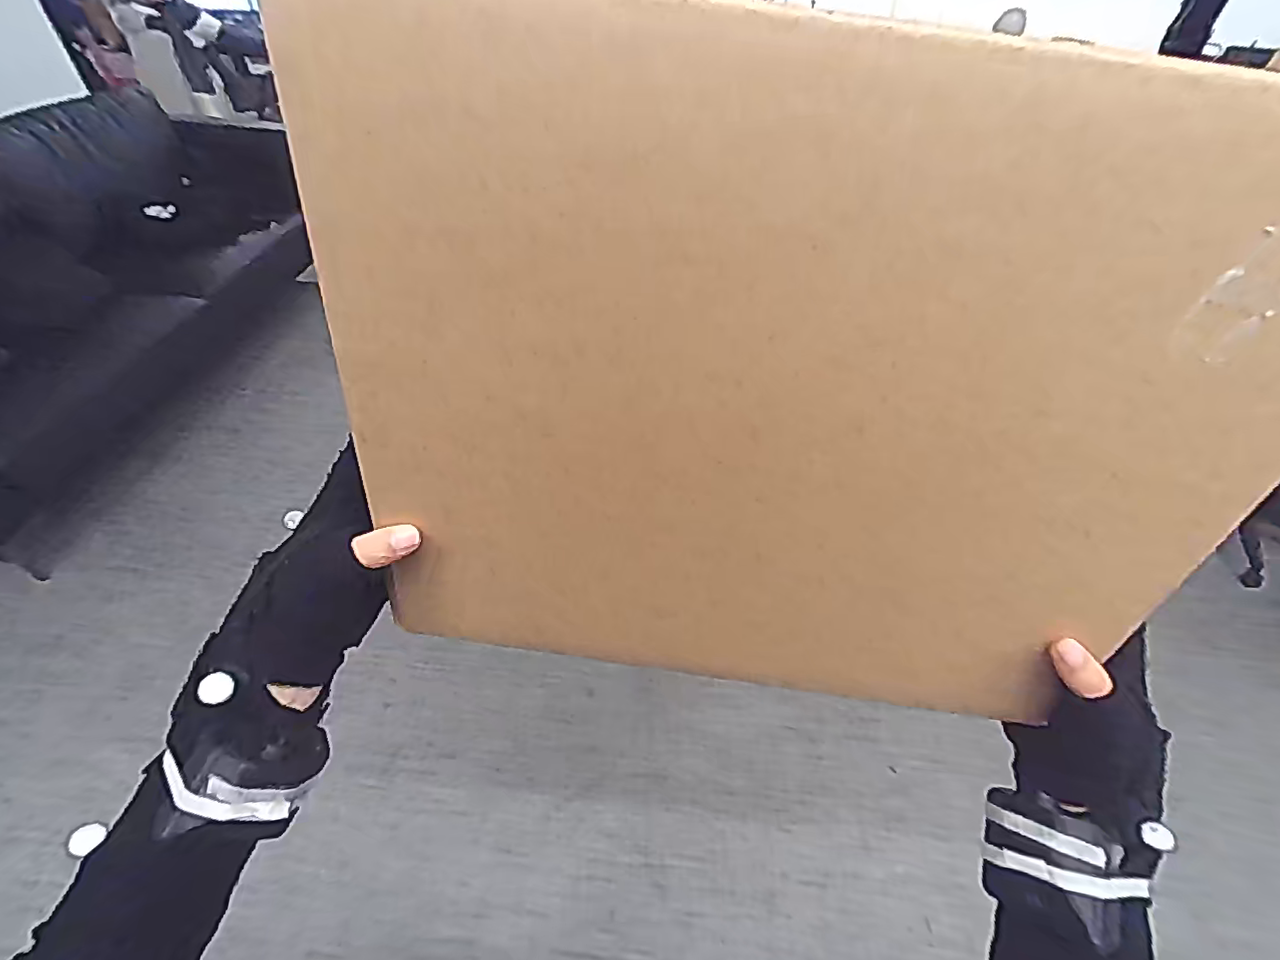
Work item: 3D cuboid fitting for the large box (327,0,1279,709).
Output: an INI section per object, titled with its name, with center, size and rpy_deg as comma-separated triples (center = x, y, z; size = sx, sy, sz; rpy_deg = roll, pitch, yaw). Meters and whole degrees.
[large box]
center = 0.084, -0.086, 0.373
size = 0.408, 0.320, 0.320
rpy_deg = 9, 35, -1
